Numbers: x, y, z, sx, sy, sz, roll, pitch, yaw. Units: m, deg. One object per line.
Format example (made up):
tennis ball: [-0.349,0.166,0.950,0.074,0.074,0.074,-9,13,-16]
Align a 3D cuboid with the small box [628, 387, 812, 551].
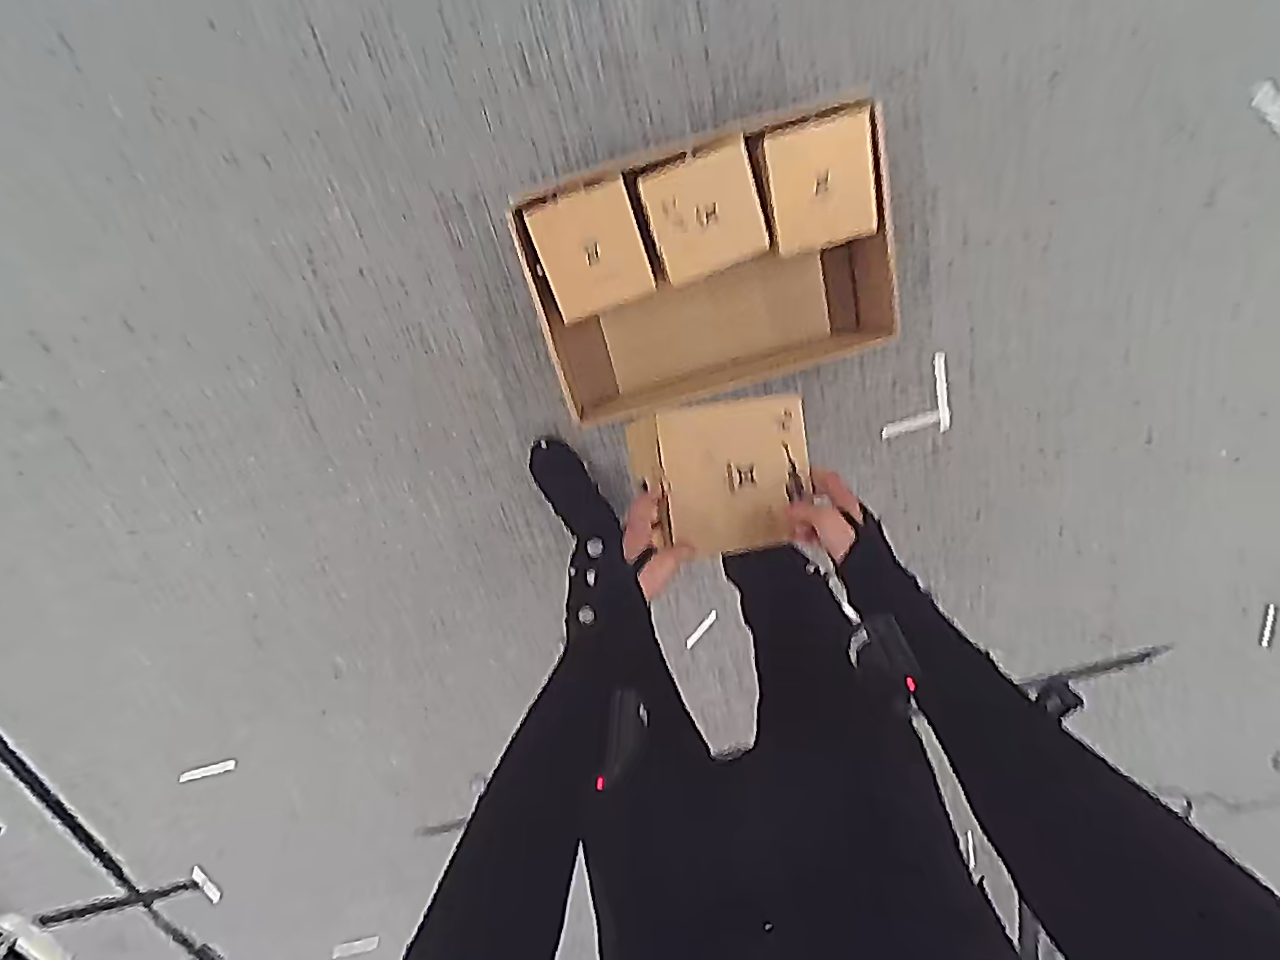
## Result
small box: [0.085,-0.014,0.671,0.179,0.176,0.168,-9,93,-11]
